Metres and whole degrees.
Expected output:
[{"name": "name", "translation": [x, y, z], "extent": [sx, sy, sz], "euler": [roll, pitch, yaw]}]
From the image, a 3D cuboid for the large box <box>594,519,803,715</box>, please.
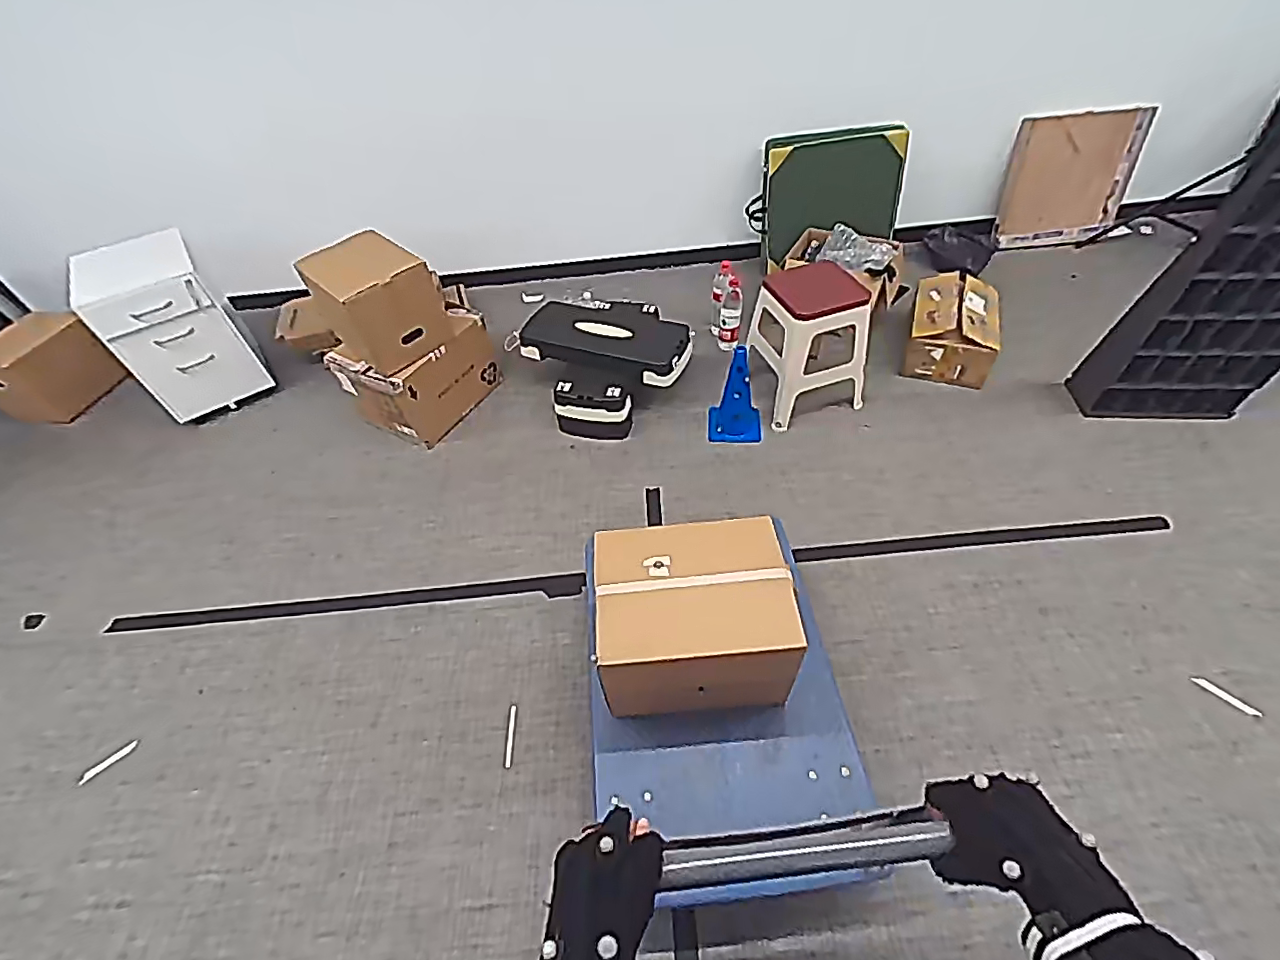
[{"name": "large box", "translation": [0.118, 0.320, 1.241], "extent": [0.408, 0.320, 0.320], "euler": [-6, 49, 1]}]
